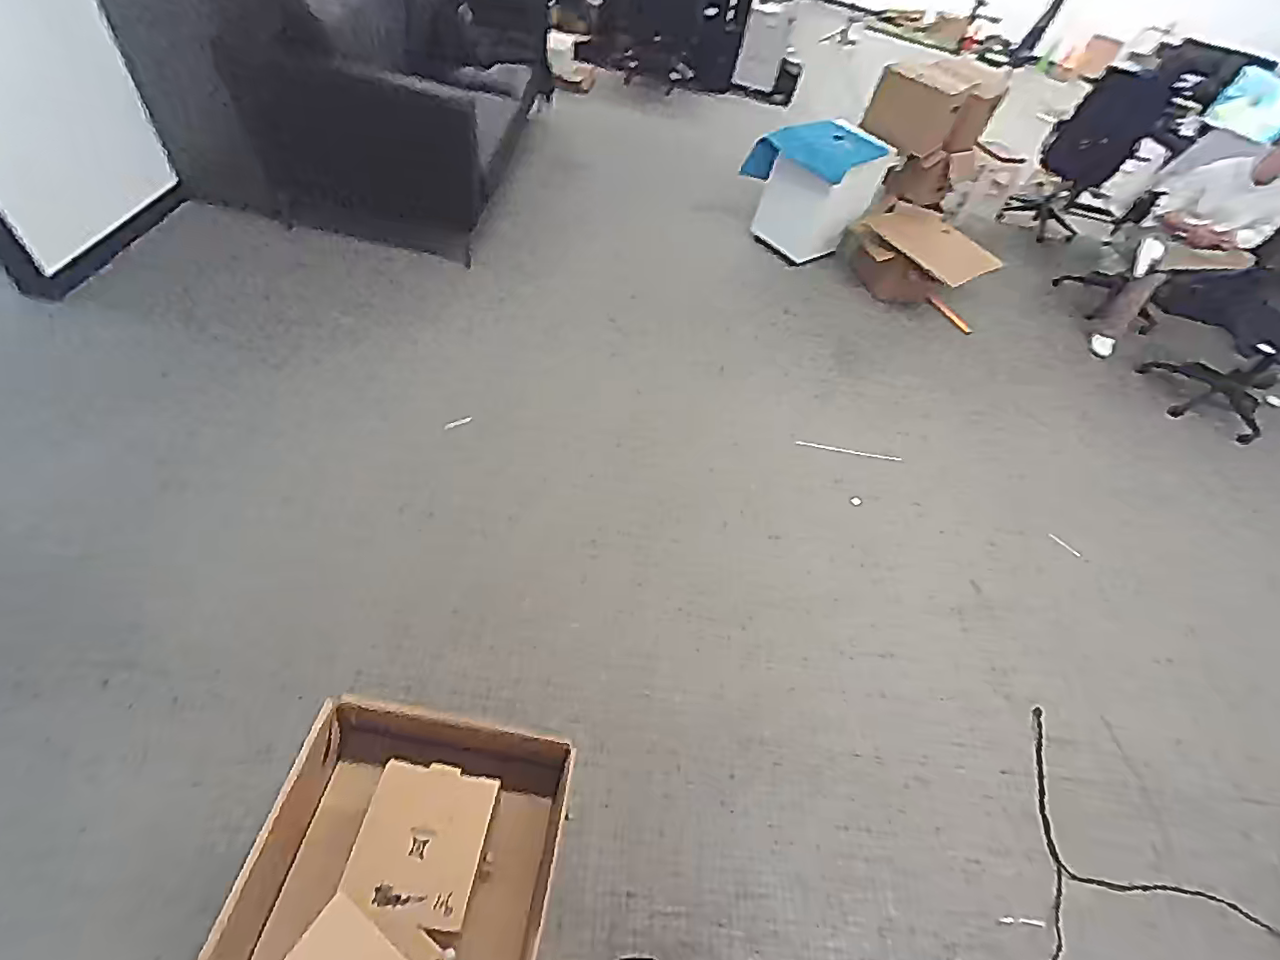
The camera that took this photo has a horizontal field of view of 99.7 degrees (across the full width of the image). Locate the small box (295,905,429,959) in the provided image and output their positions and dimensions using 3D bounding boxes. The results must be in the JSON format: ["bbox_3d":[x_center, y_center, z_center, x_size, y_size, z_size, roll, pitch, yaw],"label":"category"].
[{"bbox_3d":[-0.233,0.512,0.443,0.168,0.176,0.179,14,45,31],"label":"small box"}]
